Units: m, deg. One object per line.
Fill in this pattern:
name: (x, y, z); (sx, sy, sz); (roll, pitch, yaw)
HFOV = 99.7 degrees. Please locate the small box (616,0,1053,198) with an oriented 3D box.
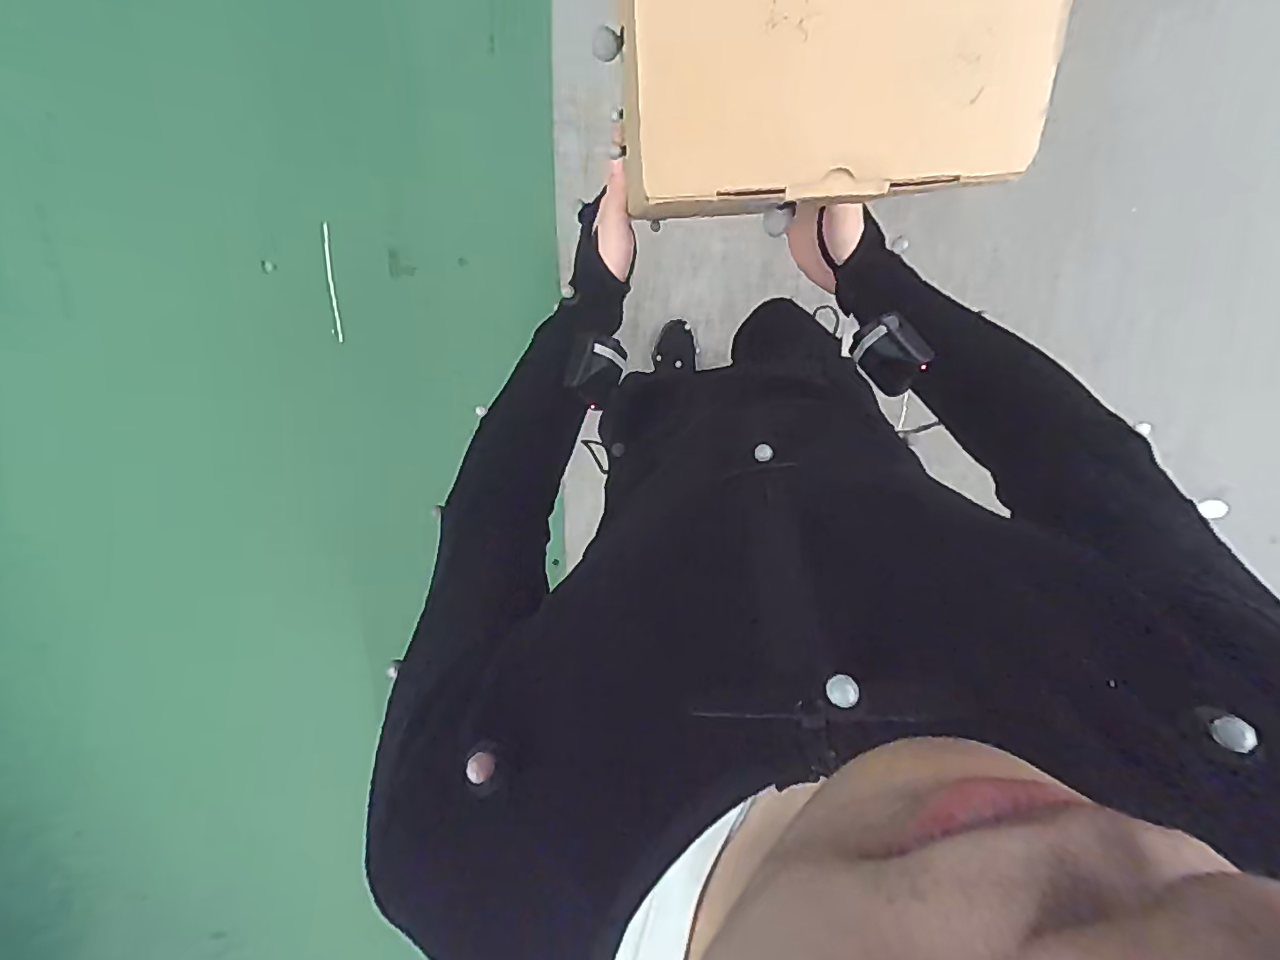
small box: (0.072, -0.239, 0.264); (0.168, 0.176, 0.179); (-4, 116, -1)
